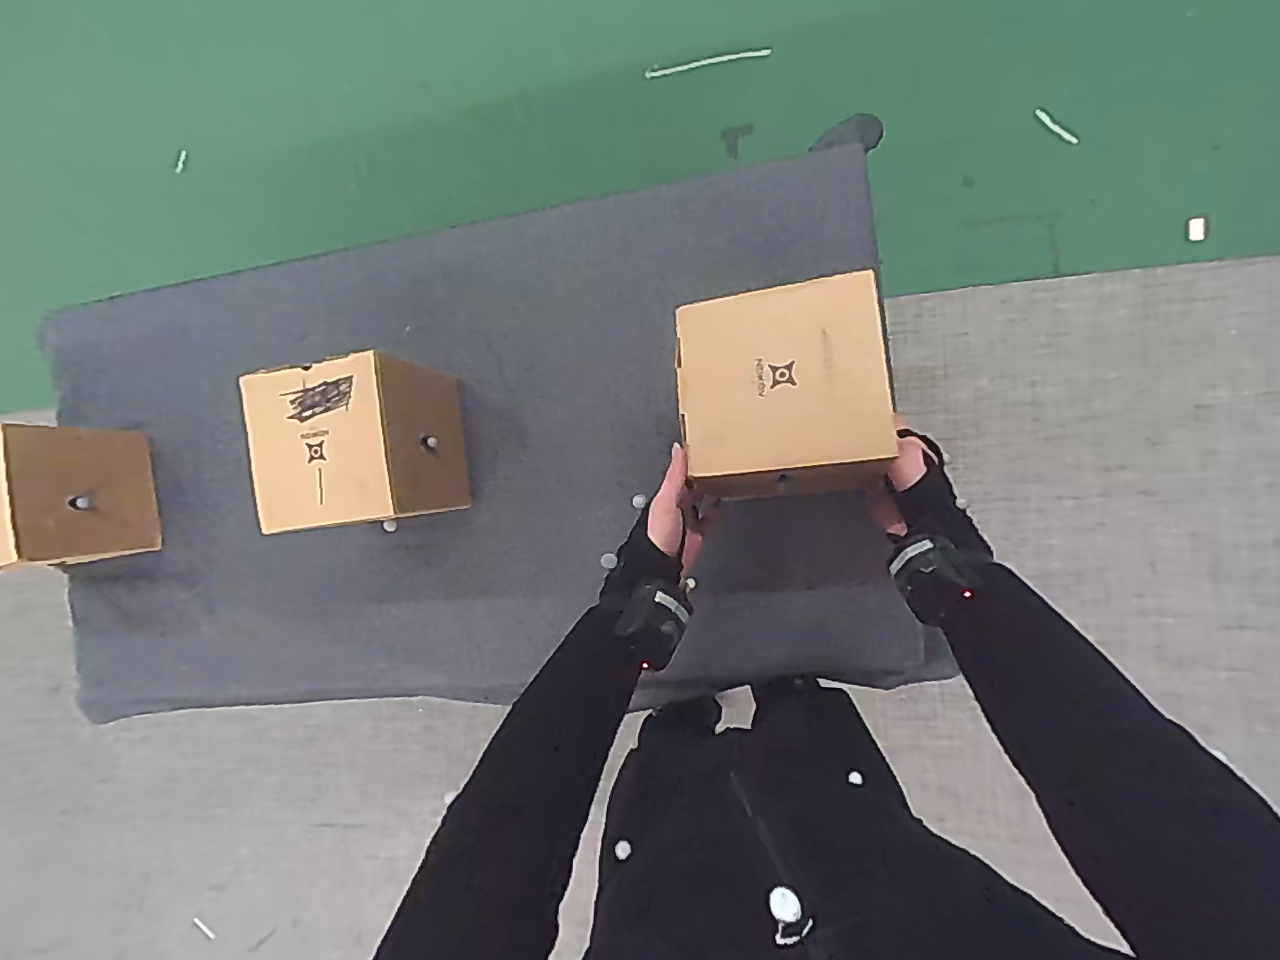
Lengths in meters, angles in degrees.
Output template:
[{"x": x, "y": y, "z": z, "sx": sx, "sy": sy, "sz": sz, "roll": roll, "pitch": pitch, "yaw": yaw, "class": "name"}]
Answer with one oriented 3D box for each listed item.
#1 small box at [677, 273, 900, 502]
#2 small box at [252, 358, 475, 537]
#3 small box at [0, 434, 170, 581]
[{"x": 0.145, "y": -0.074, "z": 0.542, "sx": 0.179, "sy": 0.176, "sz": 0.168, "roll": -7, "pitch": 79, "yaw": 16, "class": "small box"}, {"x": -0.321, "y": -0.032, "z": 0.655, "sx": 0.168, "sy": 0.176, "sz": 0.179, "roll": -8, "pitch": 89, "yaw": 11, "class": "small box"}, {"x": -0.806, "y": 0.038, "z": 0.752, "sx": 0.168, "sy": 0.176, "sz": 0.179, "roll": -10, "pitch": 88, "yaw": 11, "class": "small box"}]
